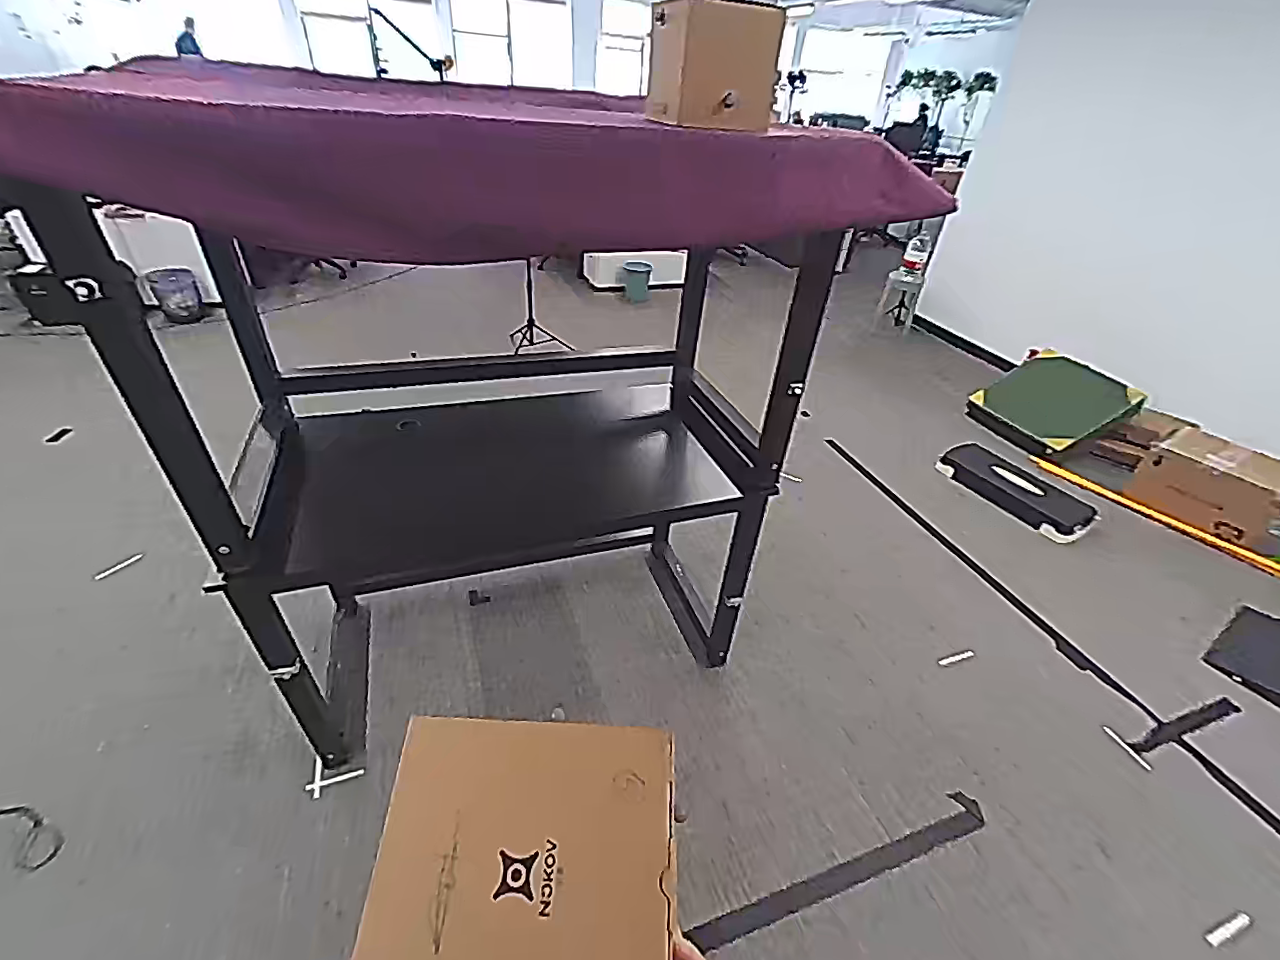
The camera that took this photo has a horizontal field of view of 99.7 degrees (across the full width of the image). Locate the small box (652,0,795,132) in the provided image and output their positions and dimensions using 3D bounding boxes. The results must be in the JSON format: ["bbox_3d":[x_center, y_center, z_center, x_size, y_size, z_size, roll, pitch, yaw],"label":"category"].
[{"bbox_3d":[0.131,-0.702,0.925,0.179,0.176,0.168,-8,37,-18],"label":"small box"}]
